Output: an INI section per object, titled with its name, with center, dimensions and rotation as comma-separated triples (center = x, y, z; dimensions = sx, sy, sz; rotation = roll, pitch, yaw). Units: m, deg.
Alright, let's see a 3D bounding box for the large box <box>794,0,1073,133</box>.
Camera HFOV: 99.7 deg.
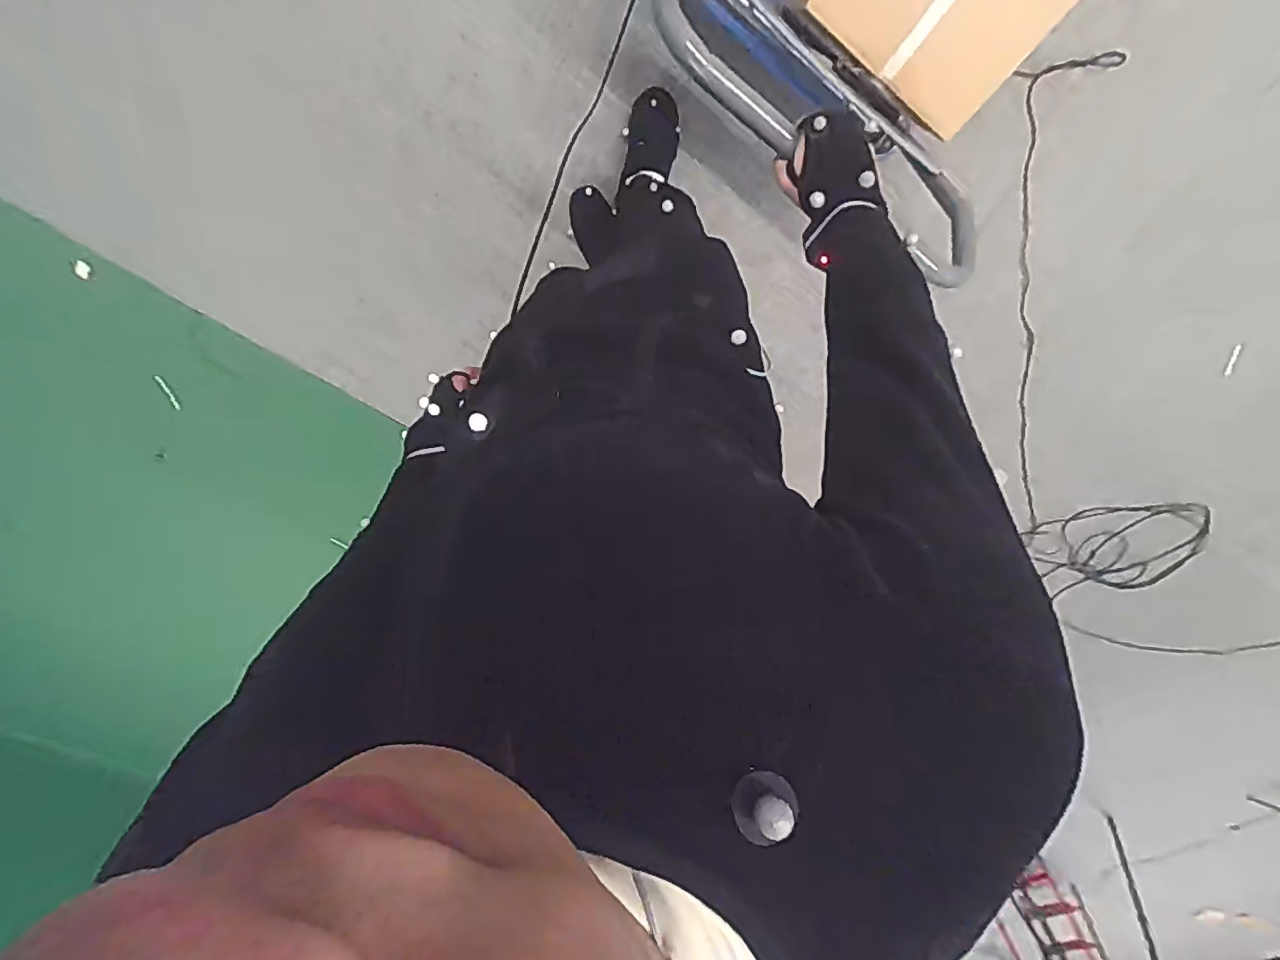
[large box]
center = 0.497, -0.841, 0.824
dimensions = 0.320, 0.320, 0.408
rotation = 28, 129, -18
